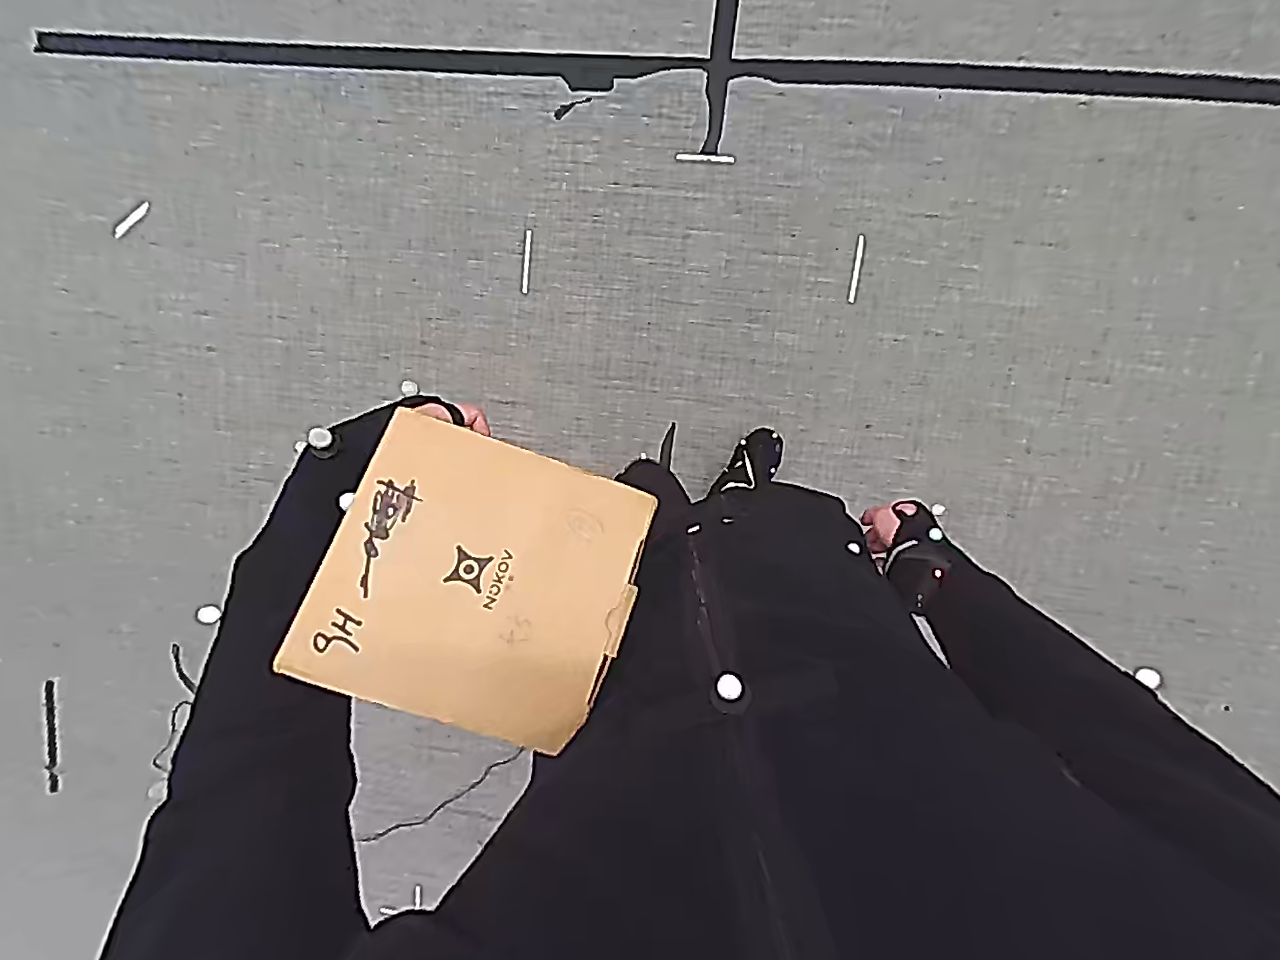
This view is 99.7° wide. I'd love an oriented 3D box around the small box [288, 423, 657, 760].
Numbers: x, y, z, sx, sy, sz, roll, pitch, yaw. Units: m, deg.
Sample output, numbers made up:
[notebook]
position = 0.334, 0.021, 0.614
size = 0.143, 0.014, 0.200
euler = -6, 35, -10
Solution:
[small box]
position = -0.108, 0.082, 0.408
size = 0.179, 0.176, 0.168
euler = 19, 73, -6
